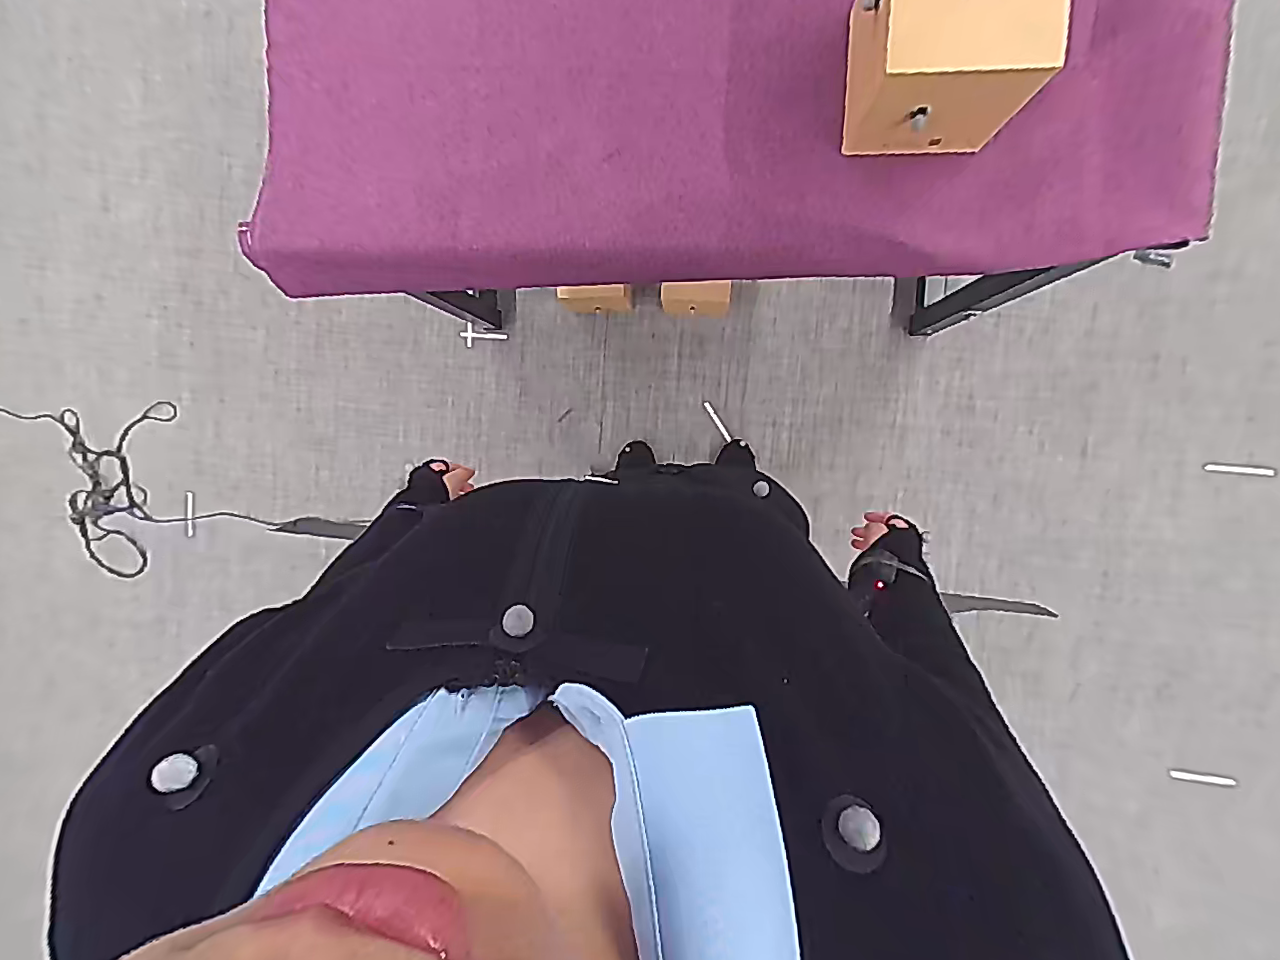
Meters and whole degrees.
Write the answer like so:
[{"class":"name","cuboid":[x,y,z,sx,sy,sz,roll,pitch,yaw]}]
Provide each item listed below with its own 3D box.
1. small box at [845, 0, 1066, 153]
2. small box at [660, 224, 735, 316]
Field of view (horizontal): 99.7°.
[{"class":"small box","cuboid":[0.336,-0.490,0.602,0.168,0.176,0.179,3,95,6]},{"class":"small box","cuboid":[0.144,-0.518,1.355,0.168,0.176,0.179,5,95,5]}]
